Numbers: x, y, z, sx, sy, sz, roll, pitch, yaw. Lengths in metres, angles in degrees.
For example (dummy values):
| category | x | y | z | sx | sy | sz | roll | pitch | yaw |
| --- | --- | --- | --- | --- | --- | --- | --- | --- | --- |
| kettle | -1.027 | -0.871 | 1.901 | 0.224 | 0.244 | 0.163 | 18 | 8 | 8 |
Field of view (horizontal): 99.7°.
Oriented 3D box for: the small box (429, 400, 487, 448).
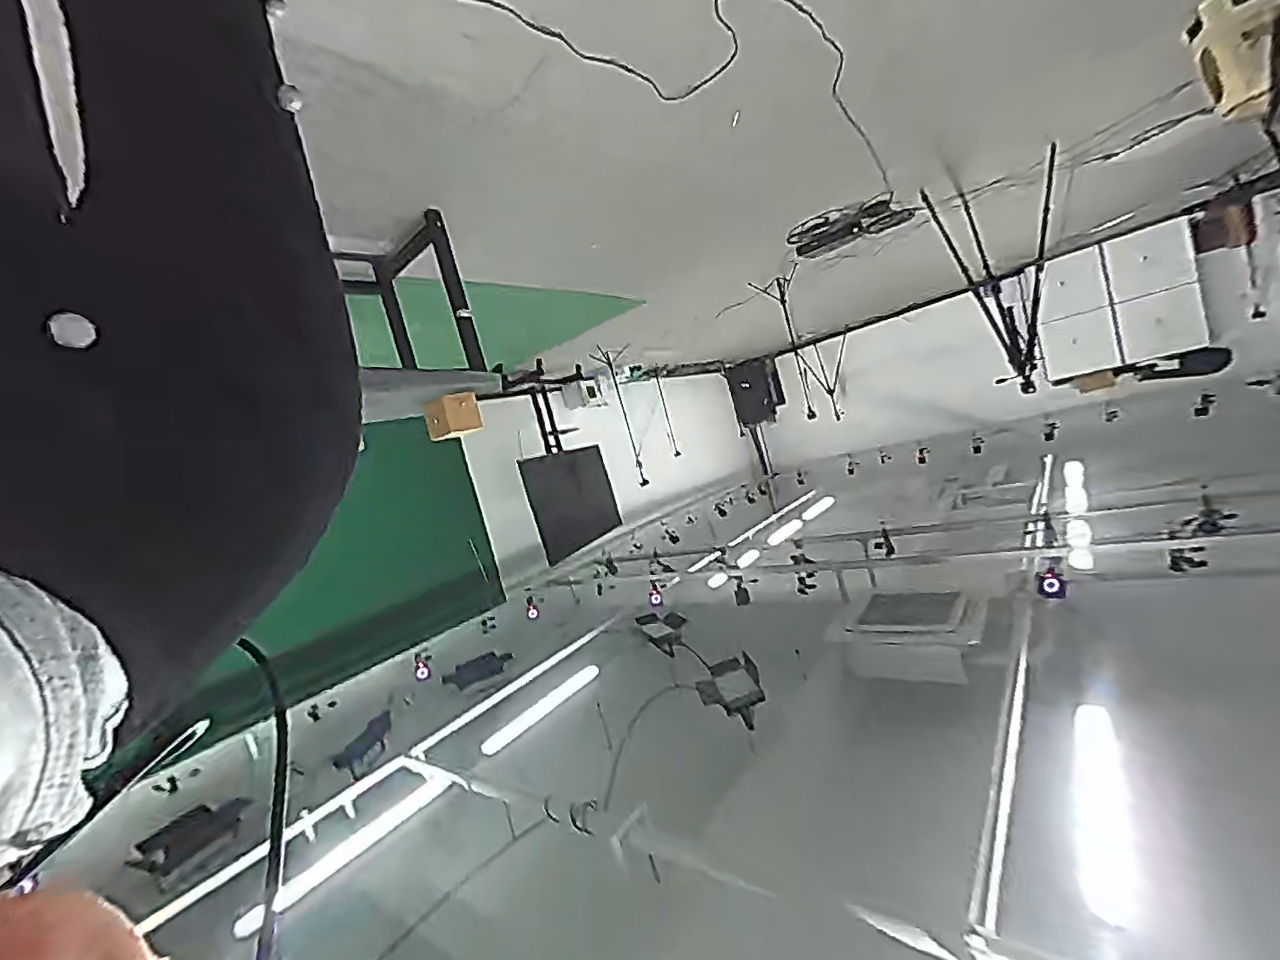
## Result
| category | x | y | z | sx | sy | sz | roll | pitch | yaw |
| --- | --- | --- | --- | --- | --- | --- | --- | --- | --- |
| small box | -0.809 | -0.249 | 2.382 | 0.179 | 0.176 | 0.168 | -13 | -176 | 41 |
